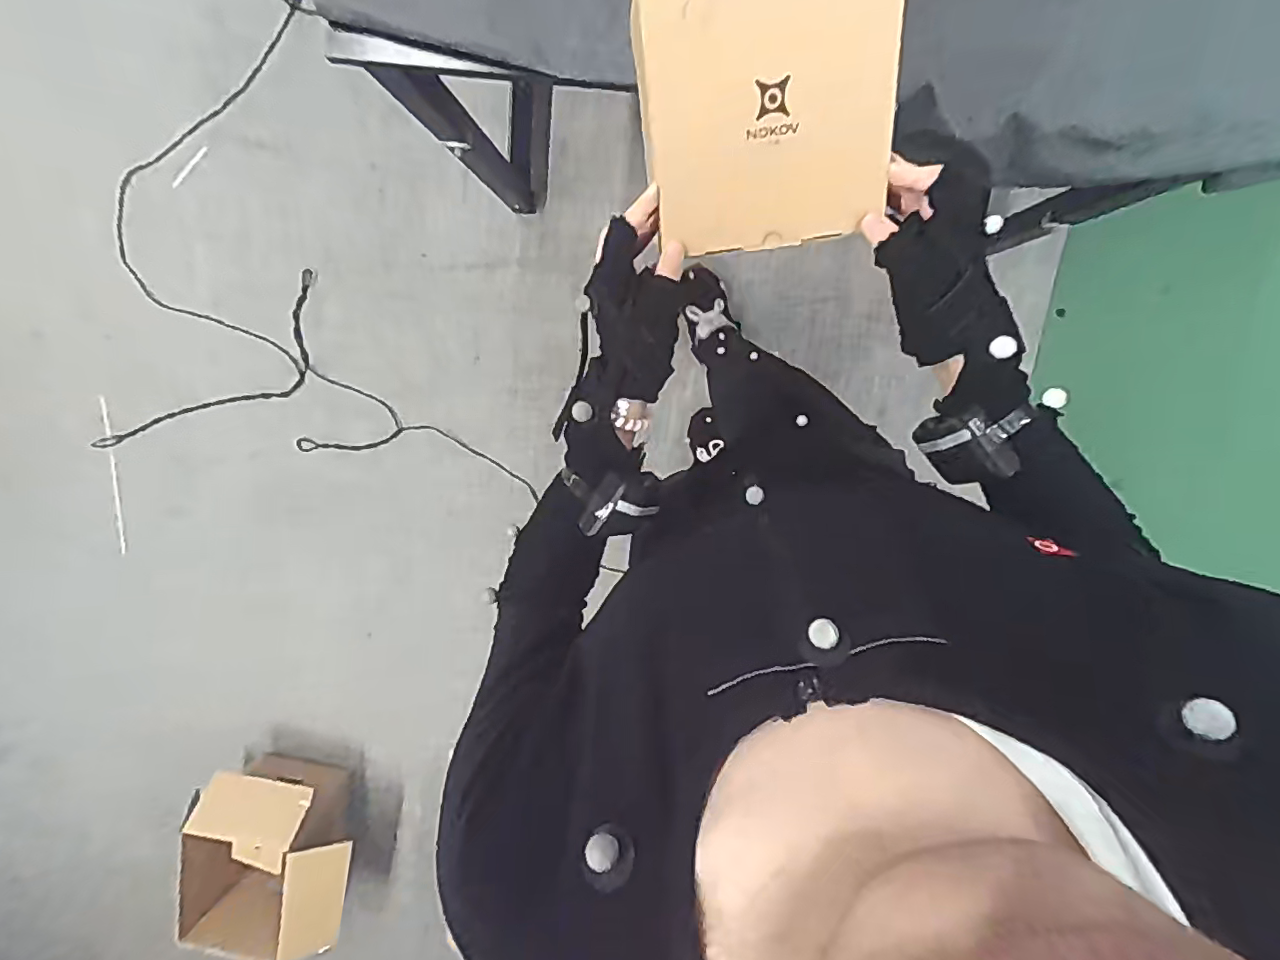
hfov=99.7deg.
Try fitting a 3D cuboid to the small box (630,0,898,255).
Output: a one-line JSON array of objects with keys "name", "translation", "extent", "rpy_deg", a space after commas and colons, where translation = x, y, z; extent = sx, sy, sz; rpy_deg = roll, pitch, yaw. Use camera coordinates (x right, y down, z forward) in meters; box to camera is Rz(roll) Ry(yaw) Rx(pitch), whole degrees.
[{"name": "small box", "translation": [0.082, -0.291, 0.431], "extent": [0.168, 0.176, 0.179], "rpy_deg": [-7, 120, 3]}]
